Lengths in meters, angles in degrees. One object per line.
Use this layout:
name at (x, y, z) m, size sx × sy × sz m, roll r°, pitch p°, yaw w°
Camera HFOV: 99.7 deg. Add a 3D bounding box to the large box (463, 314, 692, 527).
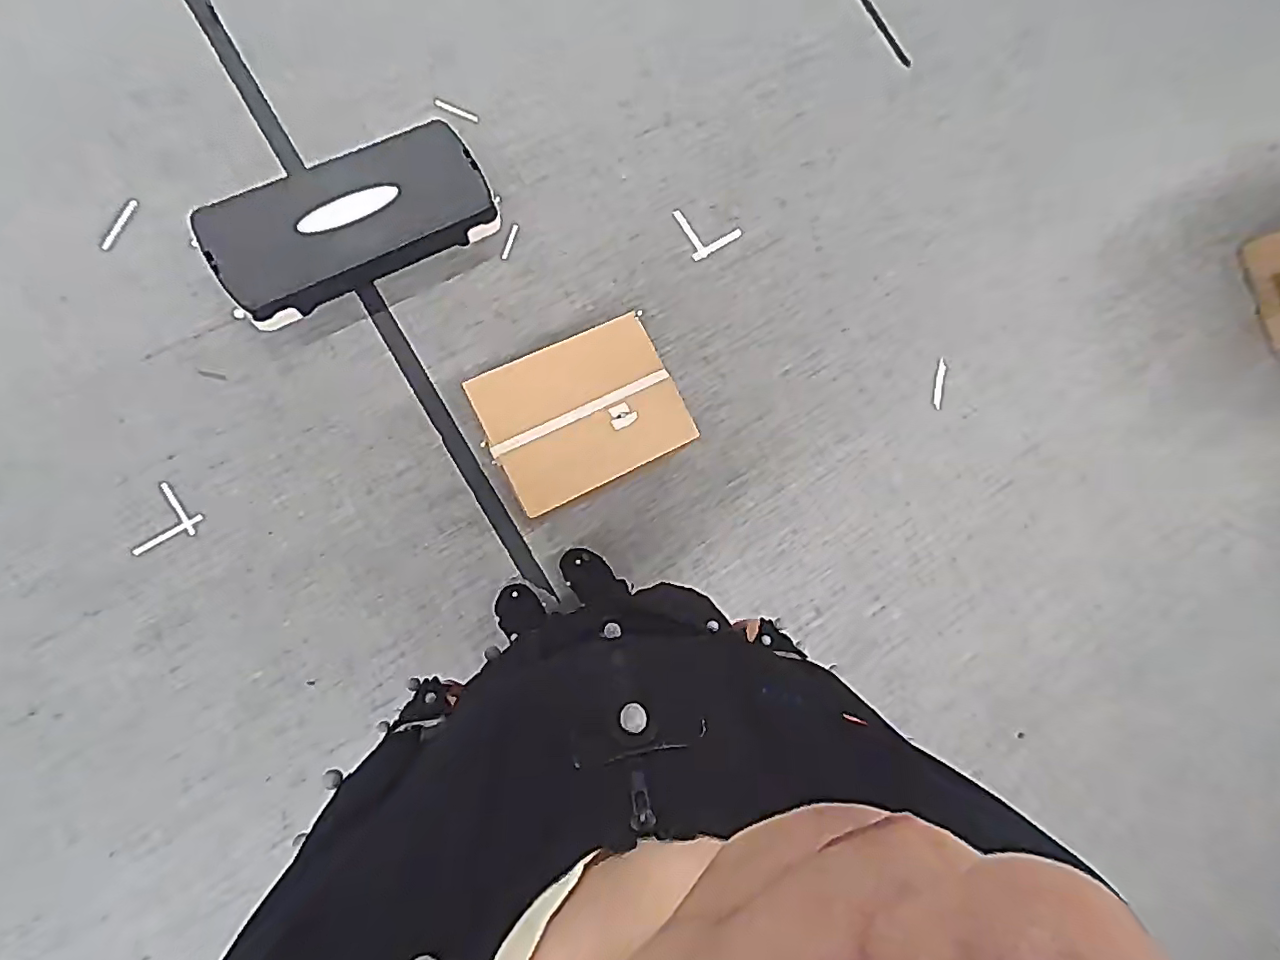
large box at (-0.152, -0.122, 1.281) m, size 0.408 × 0.320 × 0.320 m, roll -27°, pitch 88°, yaw -14°
